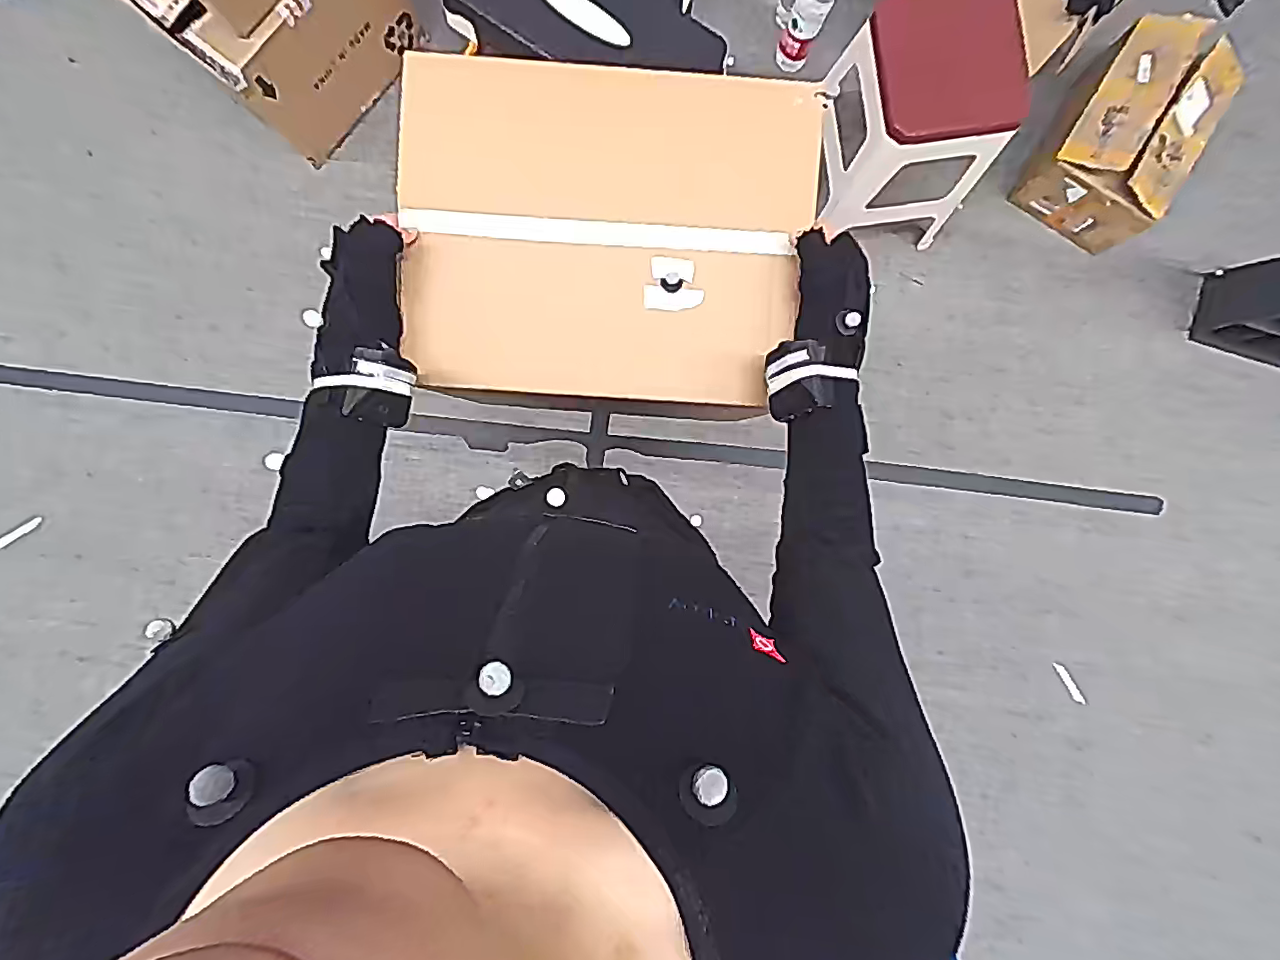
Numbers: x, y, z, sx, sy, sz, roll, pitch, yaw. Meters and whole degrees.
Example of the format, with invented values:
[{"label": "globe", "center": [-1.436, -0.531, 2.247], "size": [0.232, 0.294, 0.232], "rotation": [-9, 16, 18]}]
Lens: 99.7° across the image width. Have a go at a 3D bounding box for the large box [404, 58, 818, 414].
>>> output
[{"label": "large box", "center": [-0.035, -0.255, 0.681], "size": [0.408, 0.320, 0.320], "rotation": [3, 94, -2]}]
